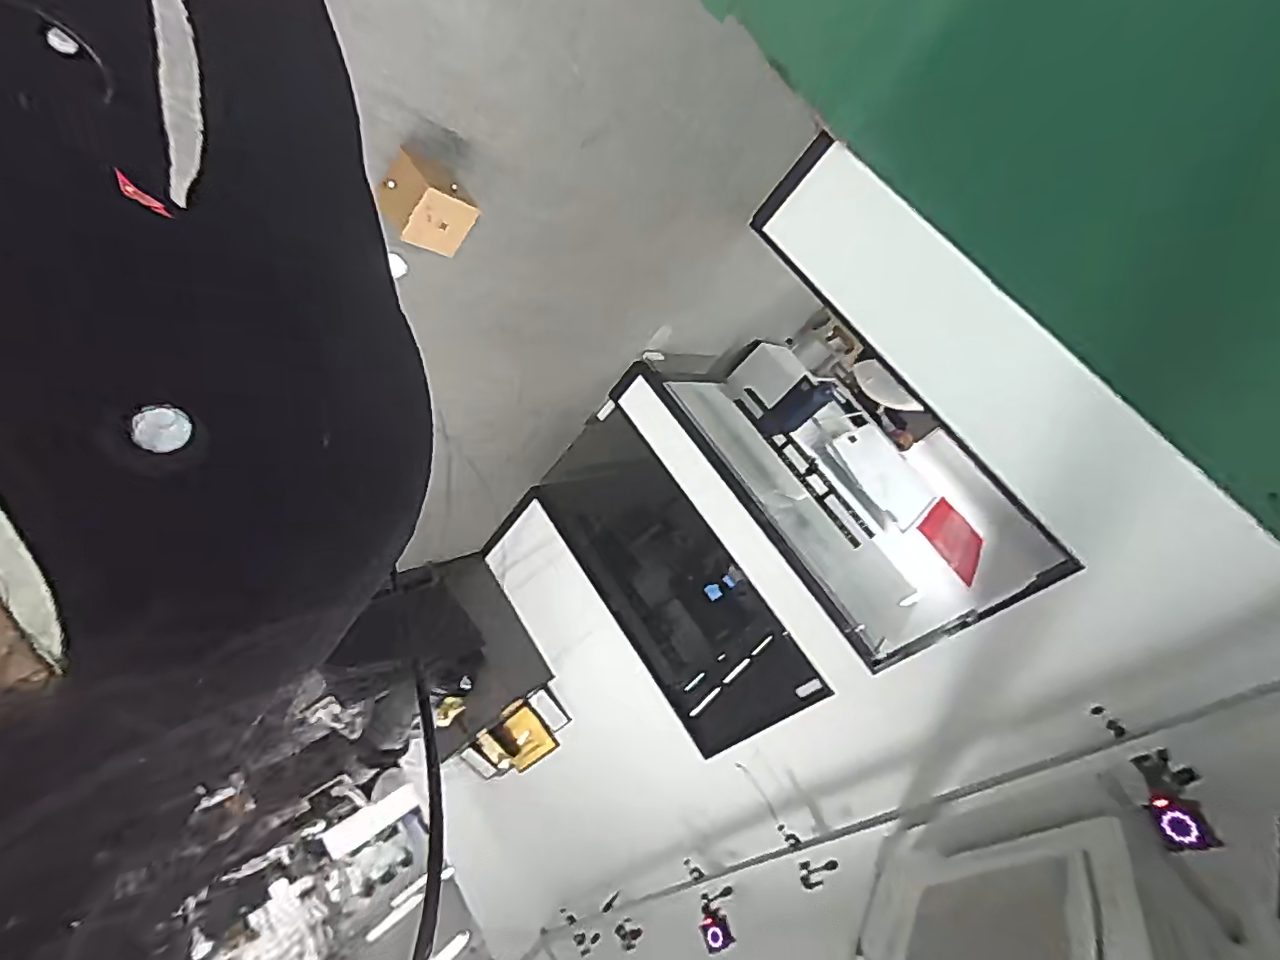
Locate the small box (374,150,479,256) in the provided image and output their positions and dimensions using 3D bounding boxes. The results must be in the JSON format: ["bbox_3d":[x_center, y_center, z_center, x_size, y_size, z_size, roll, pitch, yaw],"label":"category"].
[{"bbox_3d":[-0.582,-0.752,1.472,0.168,0.176,0.179,-44,163,26],"label":"small box"}]
